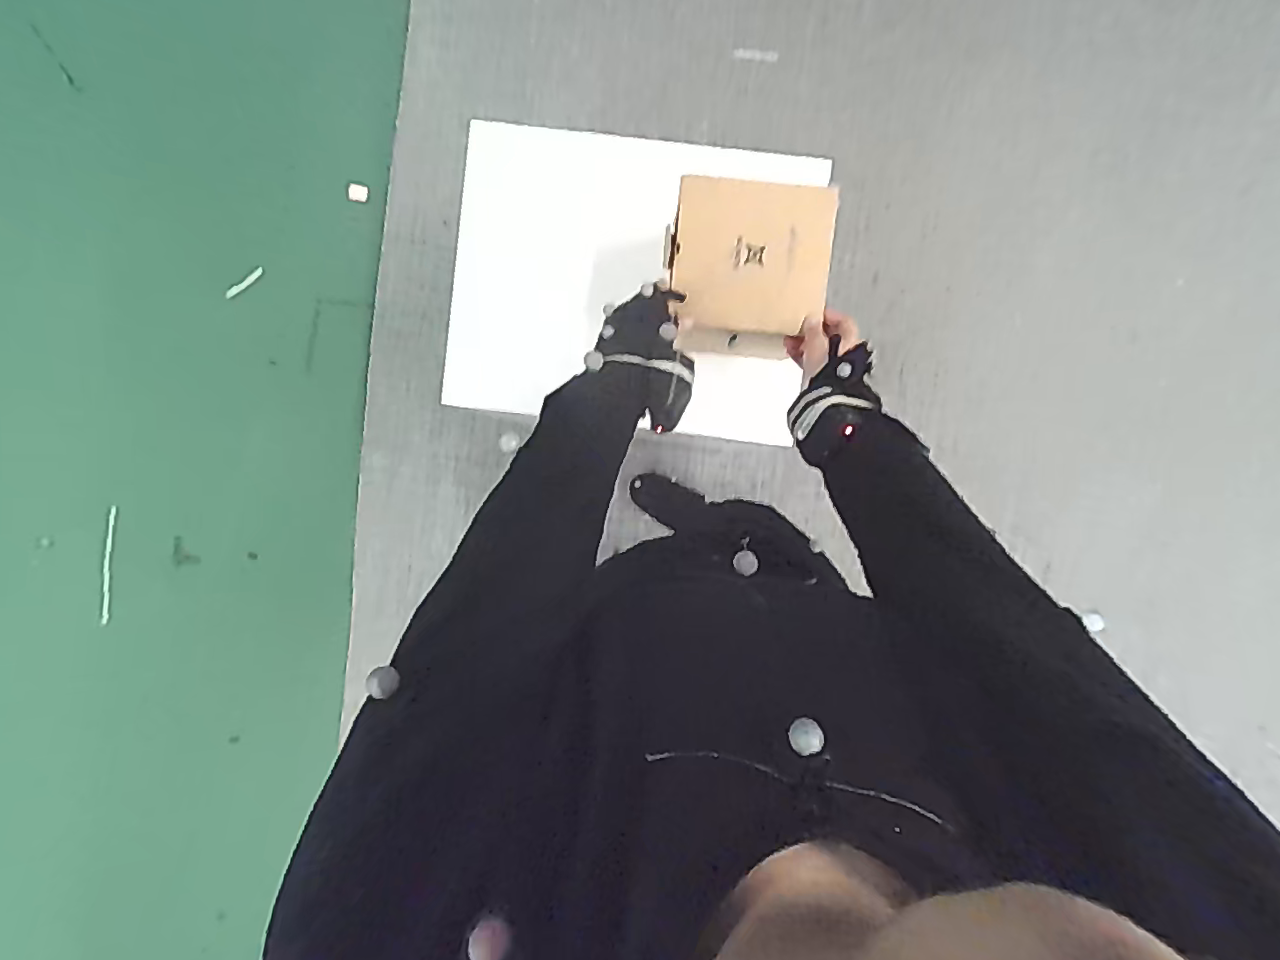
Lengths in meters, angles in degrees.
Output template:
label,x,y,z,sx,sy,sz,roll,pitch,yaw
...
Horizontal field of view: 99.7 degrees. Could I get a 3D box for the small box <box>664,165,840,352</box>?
label,x,y,z,sx,sy,sz,roll,pitch,yaw
small box,0.124,-0.259,0.669,0.179,0.176,0.168,6,94,1
